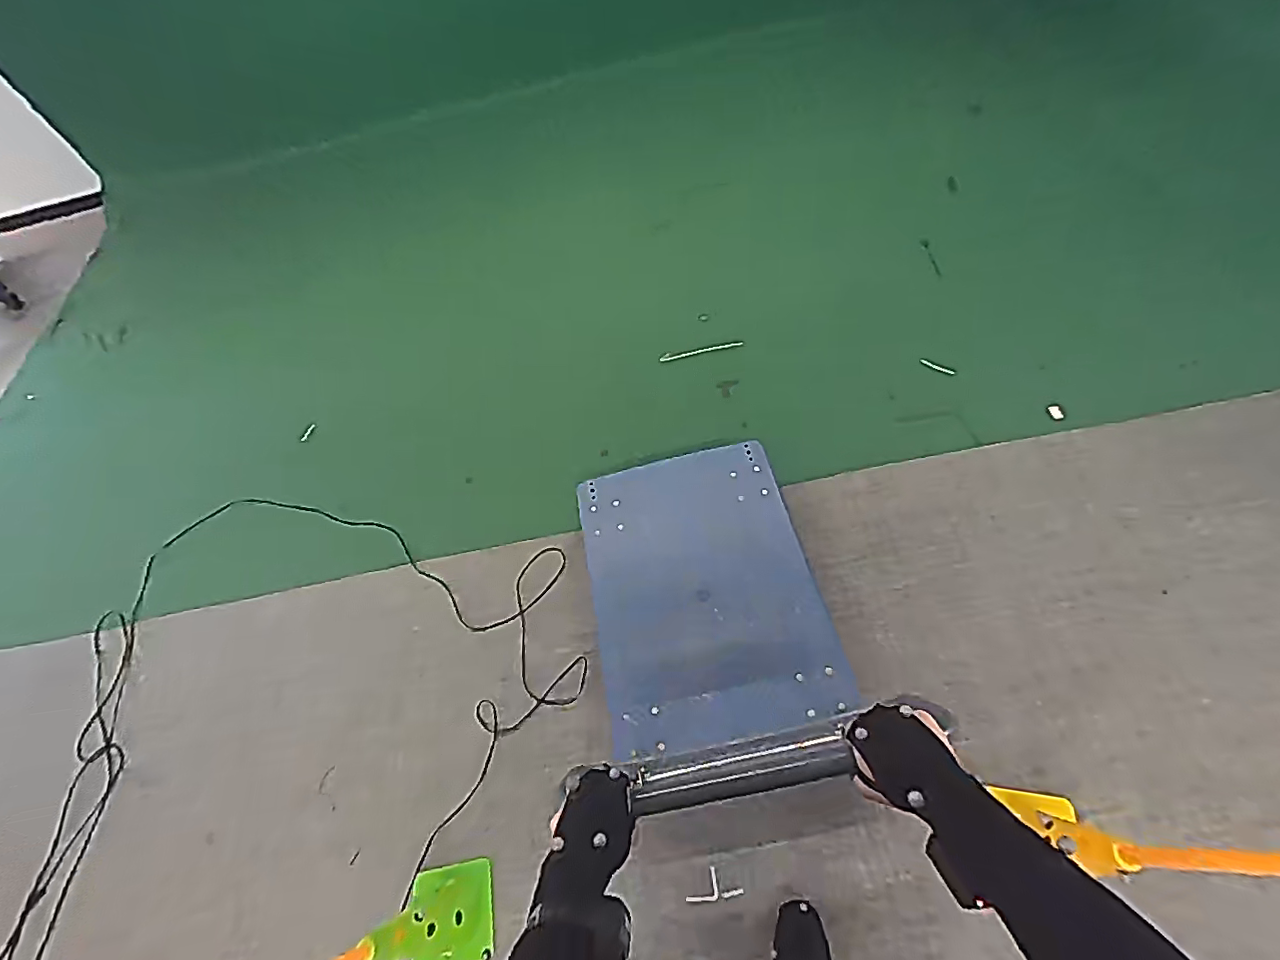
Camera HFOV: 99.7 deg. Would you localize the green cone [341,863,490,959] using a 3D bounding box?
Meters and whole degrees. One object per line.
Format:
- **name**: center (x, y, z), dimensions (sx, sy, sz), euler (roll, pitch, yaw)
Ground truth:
- **green cone**: center (-0.486, 0.954, 1.132), dimensions (0.202, 0.368, 0.200), euler (-16, 58, 3)
